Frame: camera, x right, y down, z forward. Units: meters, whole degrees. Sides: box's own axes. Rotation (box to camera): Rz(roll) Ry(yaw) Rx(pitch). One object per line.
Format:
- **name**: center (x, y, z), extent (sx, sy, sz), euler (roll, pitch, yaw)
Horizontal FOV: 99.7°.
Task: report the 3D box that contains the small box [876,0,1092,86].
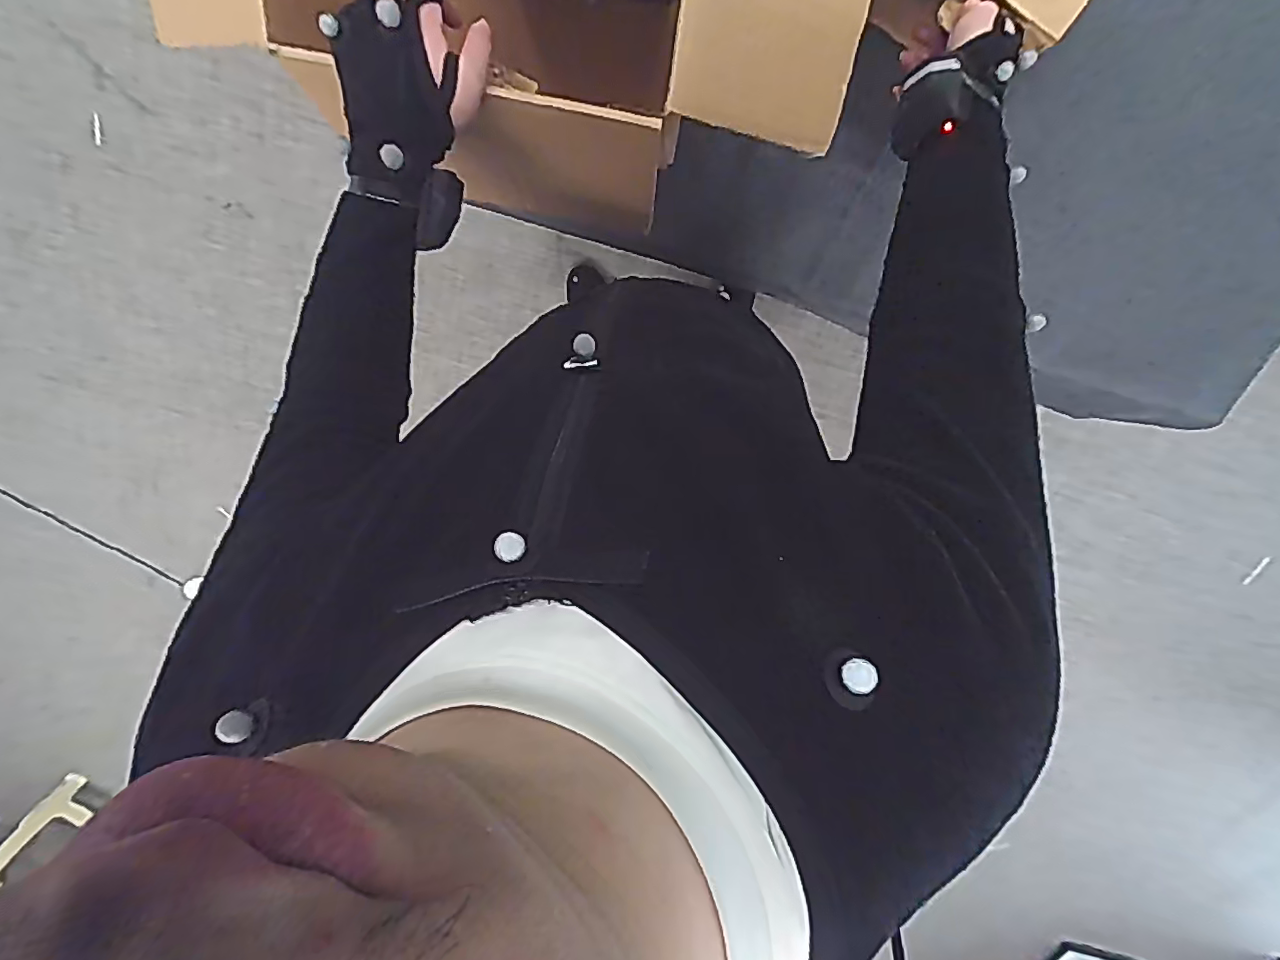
- **small box**: center (0.358, -0.531, 0.523), extent (0.168, 0.176, 0.179), euler (29, 111, -10)
